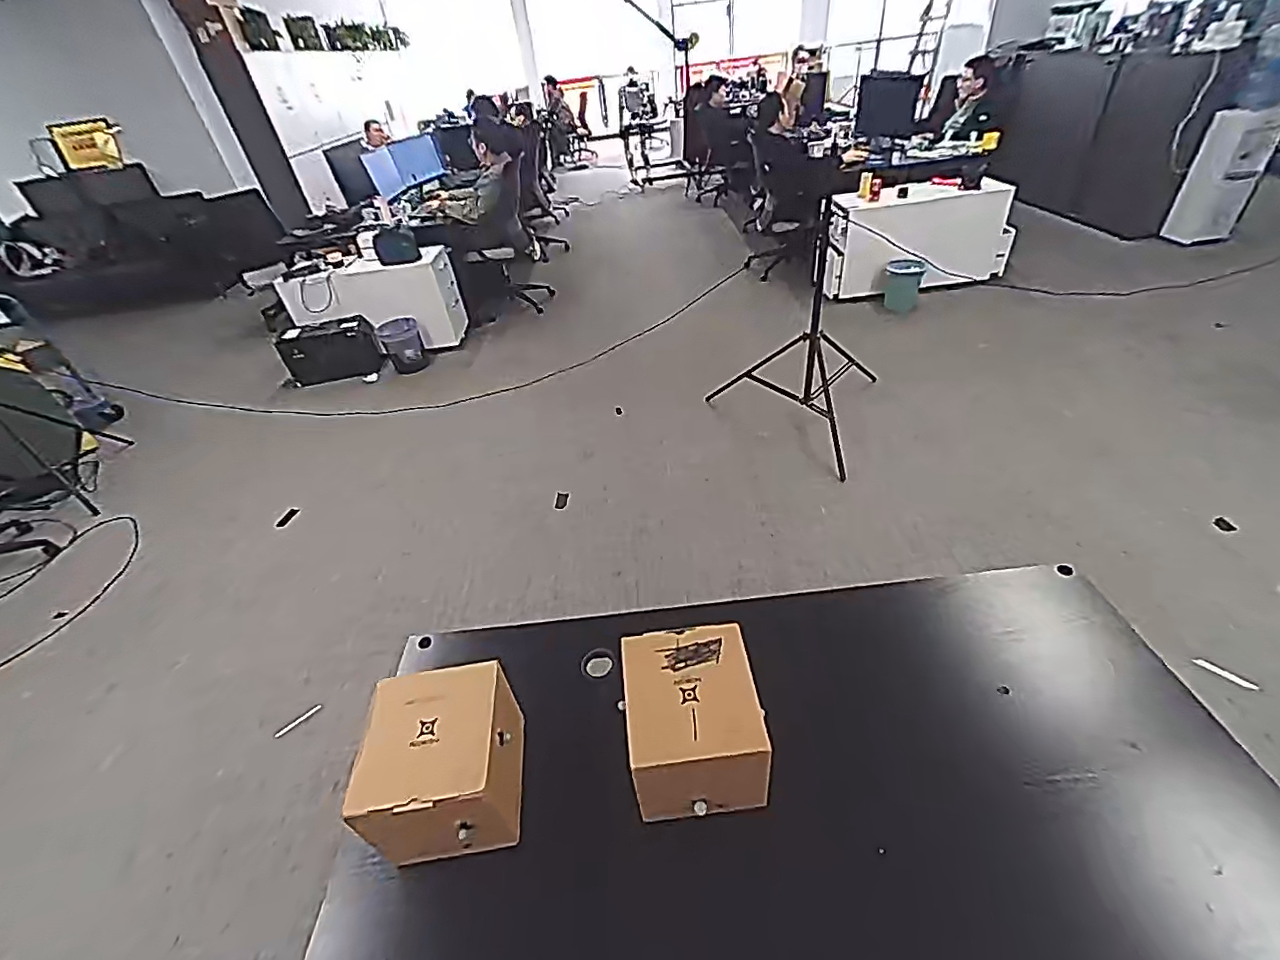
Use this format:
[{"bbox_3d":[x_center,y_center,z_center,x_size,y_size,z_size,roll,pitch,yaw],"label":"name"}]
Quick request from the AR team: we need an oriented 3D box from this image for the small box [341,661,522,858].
[{"bbox_3d":[-0.257,0.374,0.719,0.168,0.176,0.179,-8,38,-3],"label":"small box"}]

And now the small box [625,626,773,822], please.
[{"bbox_3d":[0.072,0.325,0.726,0.168,0.176,0.179,-8,39,0],"label":"small box"}]
